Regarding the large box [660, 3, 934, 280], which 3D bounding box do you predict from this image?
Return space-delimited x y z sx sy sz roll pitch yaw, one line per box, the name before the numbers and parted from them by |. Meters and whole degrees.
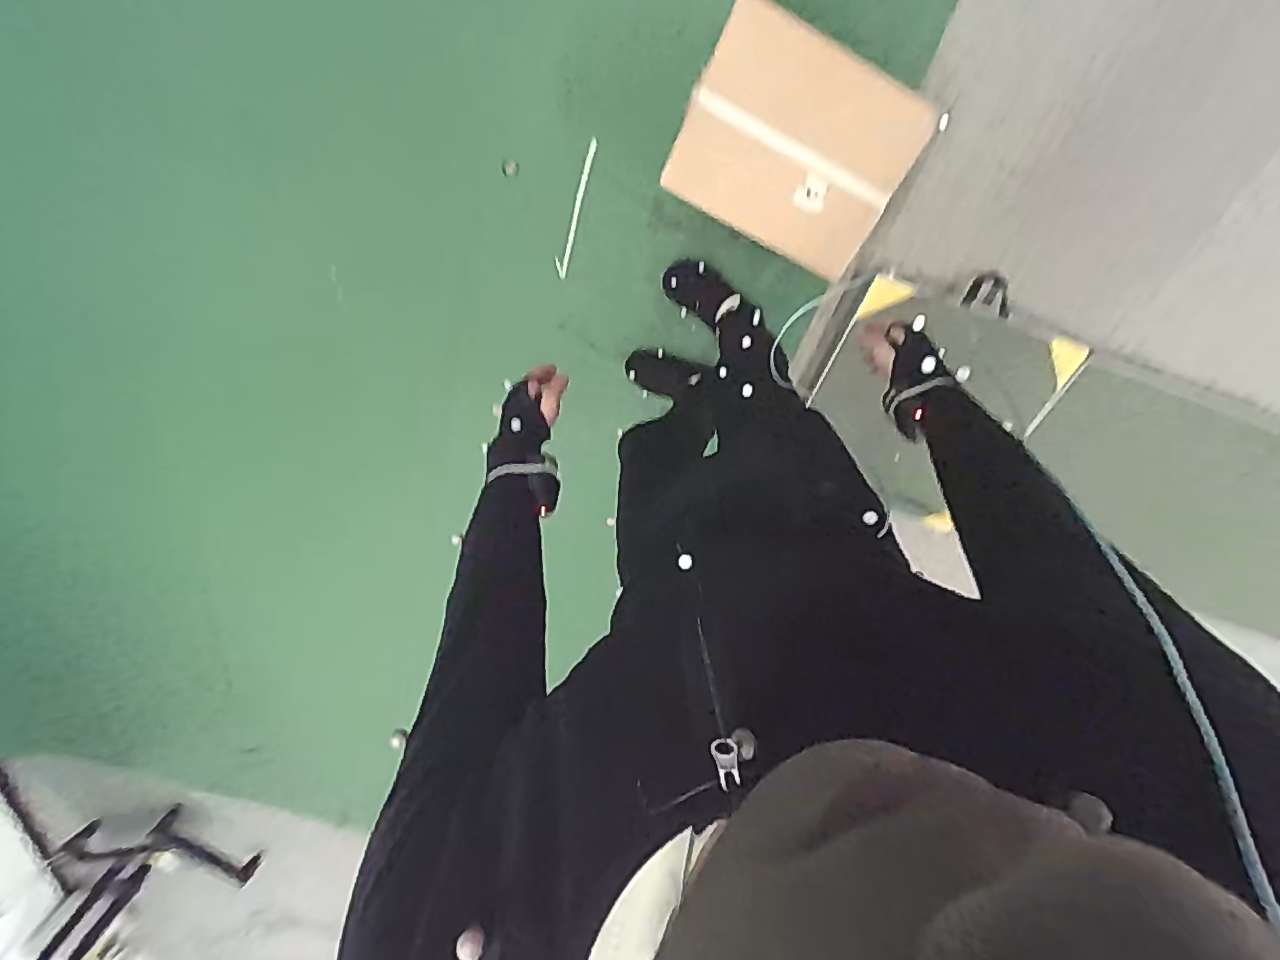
large box | 0.285 -0.667 1.117 0.408 0.320 0.320 24 119 -9
